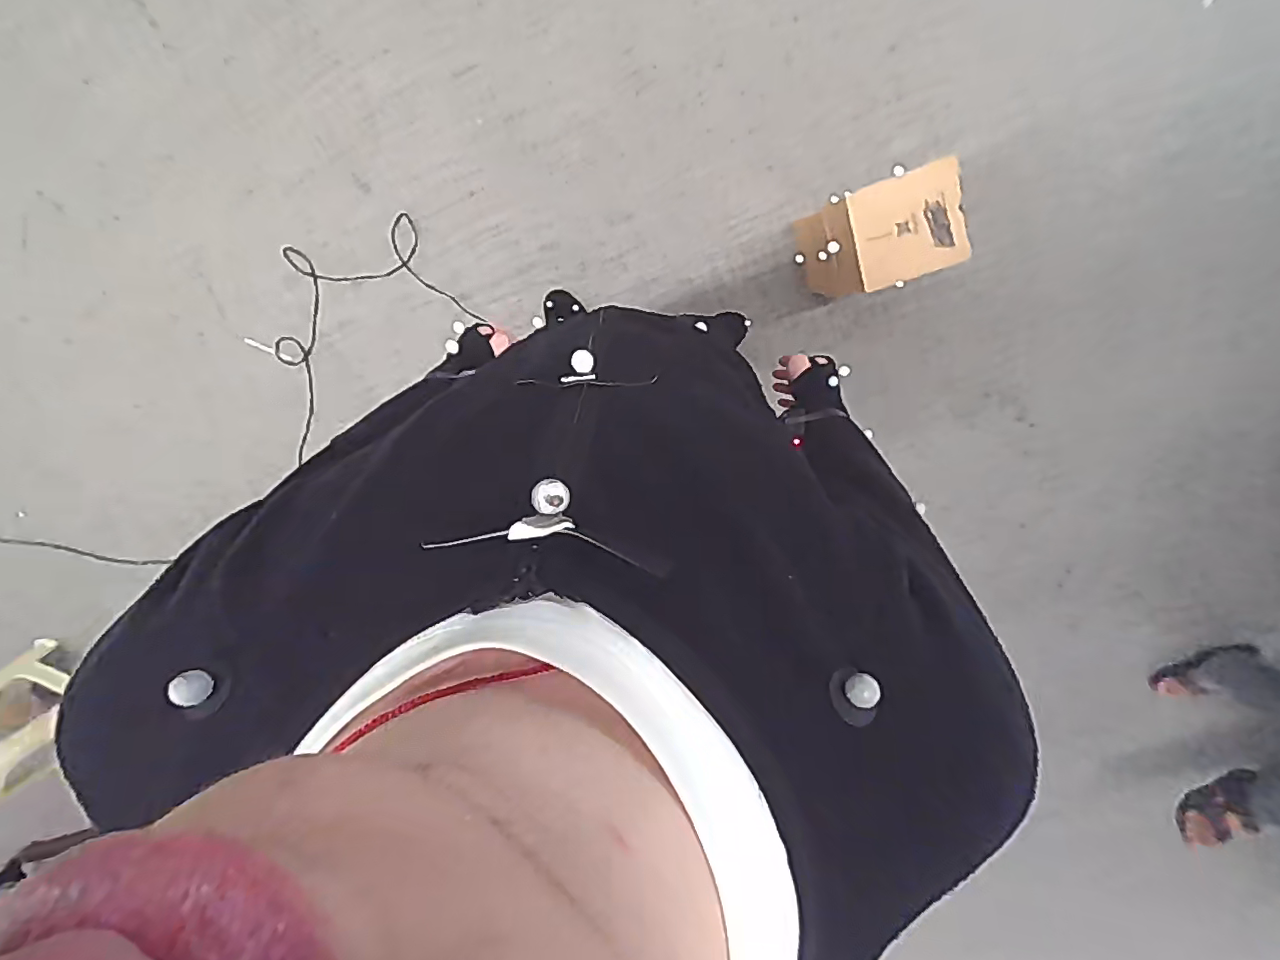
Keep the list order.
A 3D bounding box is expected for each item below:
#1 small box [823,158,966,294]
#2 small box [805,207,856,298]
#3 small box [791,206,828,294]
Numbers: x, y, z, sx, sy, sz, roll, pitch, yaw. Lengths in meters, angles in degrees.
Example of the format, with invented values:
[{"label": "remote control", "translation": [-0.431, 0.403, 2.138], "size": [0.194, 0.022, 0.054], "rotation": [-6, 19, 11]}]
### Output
[{"label": "small box", "translation": [0.450, -0.450, 0.975], "size": [0.179, 0.176, 0.168], "rotation": [-16, 109, 12]}, {"label": "small box", "translation": [0.459, -0.500, 1.134], "size": [0.168, 0.176, 0.179], "rotation": [-18, 111, 12]}, {"label": "small box", "translation": [0.471, -0.559, 1.283], "size": [0.168, 0.176, 0.179], "rotation": [-17, 110, 10]}]
